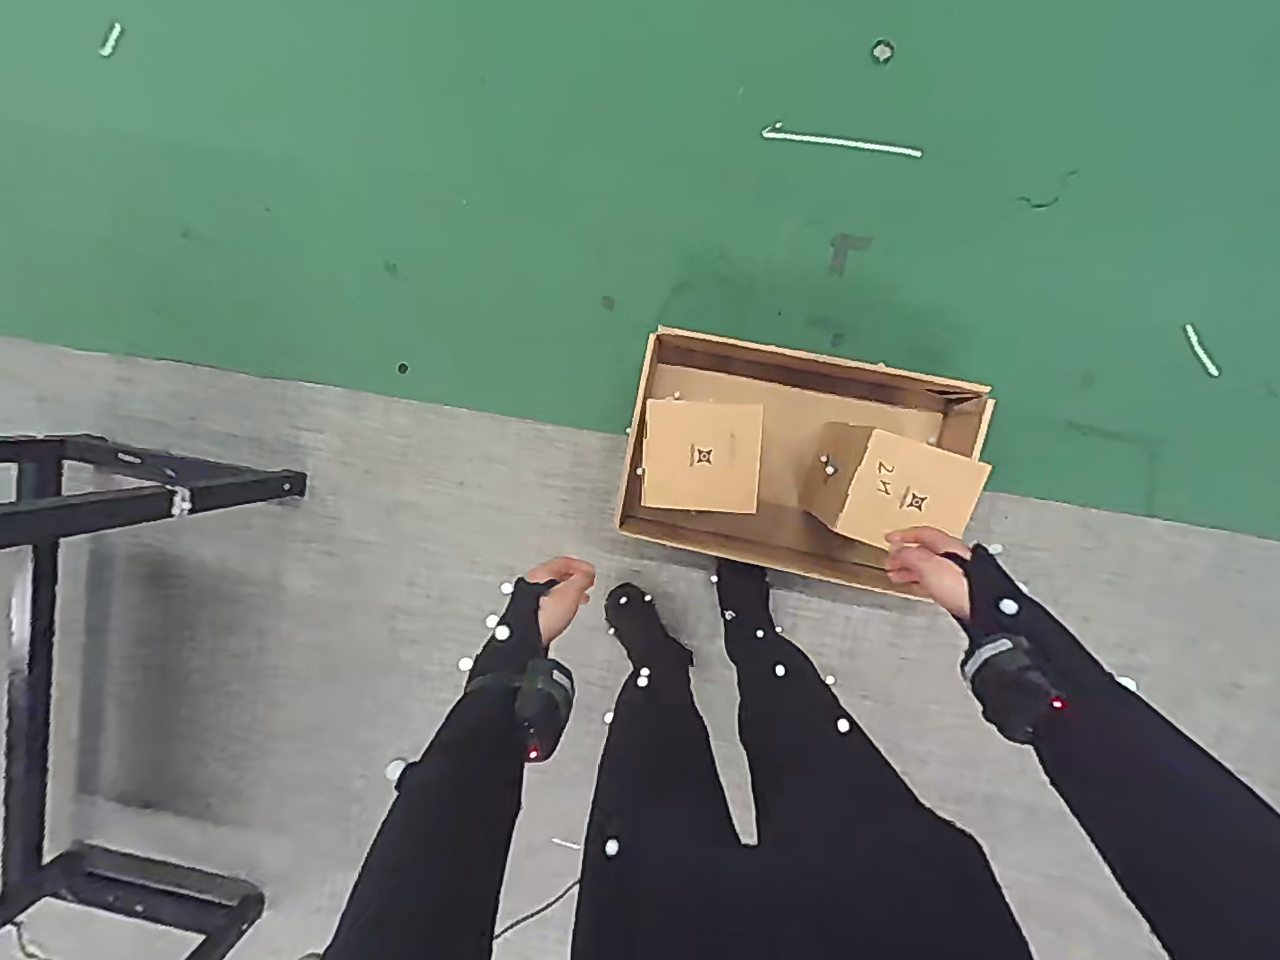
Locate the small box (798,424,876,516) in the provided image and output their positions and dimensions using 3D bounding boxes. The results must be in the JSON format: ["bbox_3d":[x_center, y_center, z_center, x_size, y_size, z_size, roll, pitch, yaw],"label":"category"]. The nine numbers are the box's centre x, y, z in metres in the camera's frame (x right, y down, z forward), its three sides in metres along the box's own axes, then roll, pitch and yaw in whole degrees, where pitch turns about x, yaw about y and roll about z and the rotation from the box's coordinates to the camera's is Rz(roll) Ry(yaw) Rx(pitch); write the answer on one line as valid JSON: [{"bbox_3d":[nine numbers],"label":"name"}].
[{"bbox_3d":[0.417,-0.001,1.028,0.168,0.176,0.179,19,99,3],"label":"small box"}]

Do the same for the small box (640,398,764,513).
[{"bbox_3d":[0.096,-0.045,0.883,0.179,0.176,0.168,3,98,3],"label":"small box"}]

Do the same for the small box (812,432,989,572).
[{"bbox_3d":[0.401,0.023,0.866,0.179,0.176,0.168,20,98,4],"label":"small box"}]
